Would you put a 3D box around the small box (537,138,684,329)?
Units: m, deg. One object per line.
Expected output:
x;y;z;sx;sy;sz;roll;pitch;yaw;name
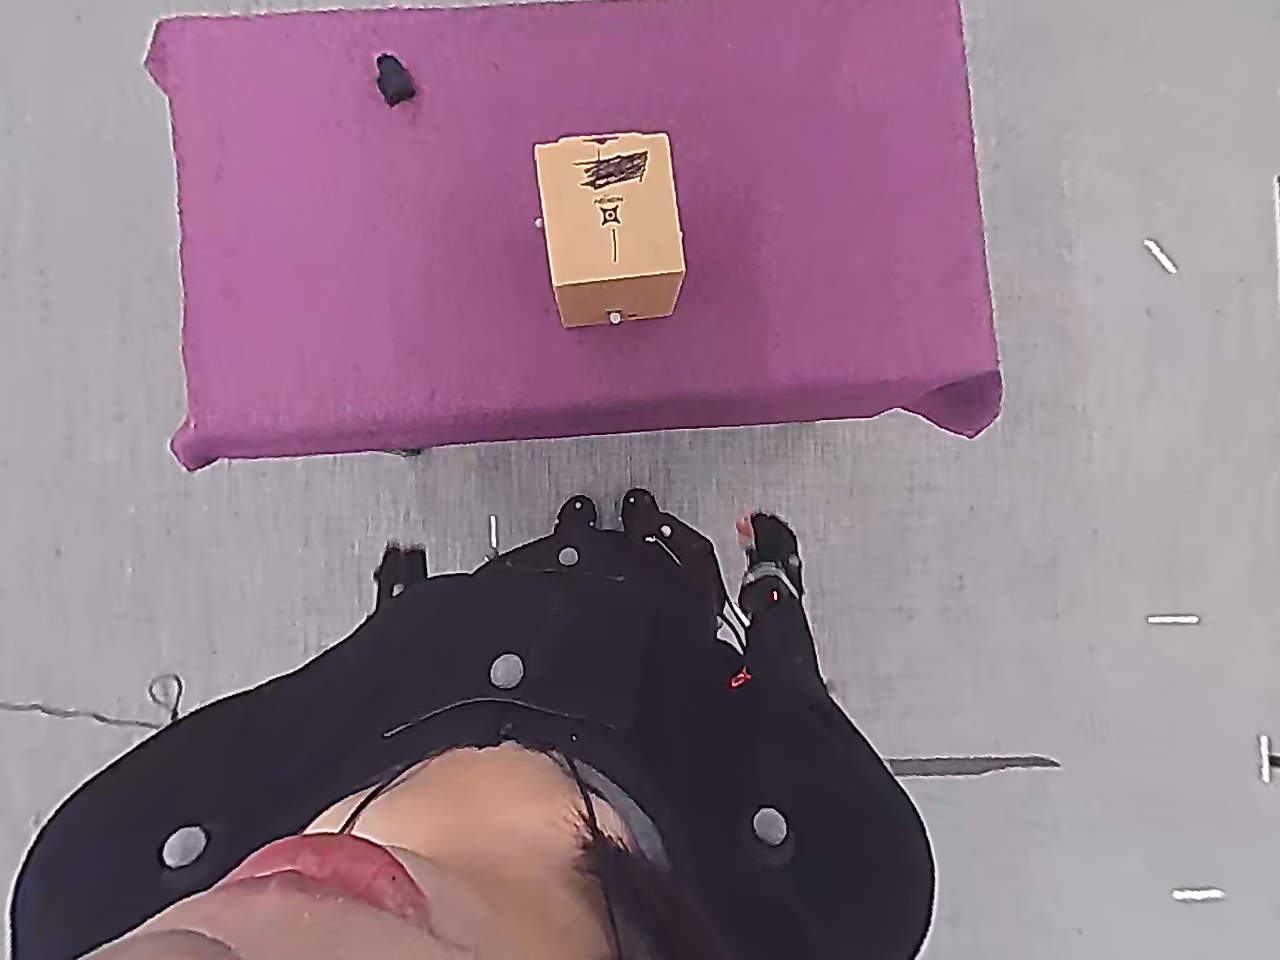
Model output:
-0.041;-0.322;0.735;0.168;0.176;0.179;-7;89;-3;small box
